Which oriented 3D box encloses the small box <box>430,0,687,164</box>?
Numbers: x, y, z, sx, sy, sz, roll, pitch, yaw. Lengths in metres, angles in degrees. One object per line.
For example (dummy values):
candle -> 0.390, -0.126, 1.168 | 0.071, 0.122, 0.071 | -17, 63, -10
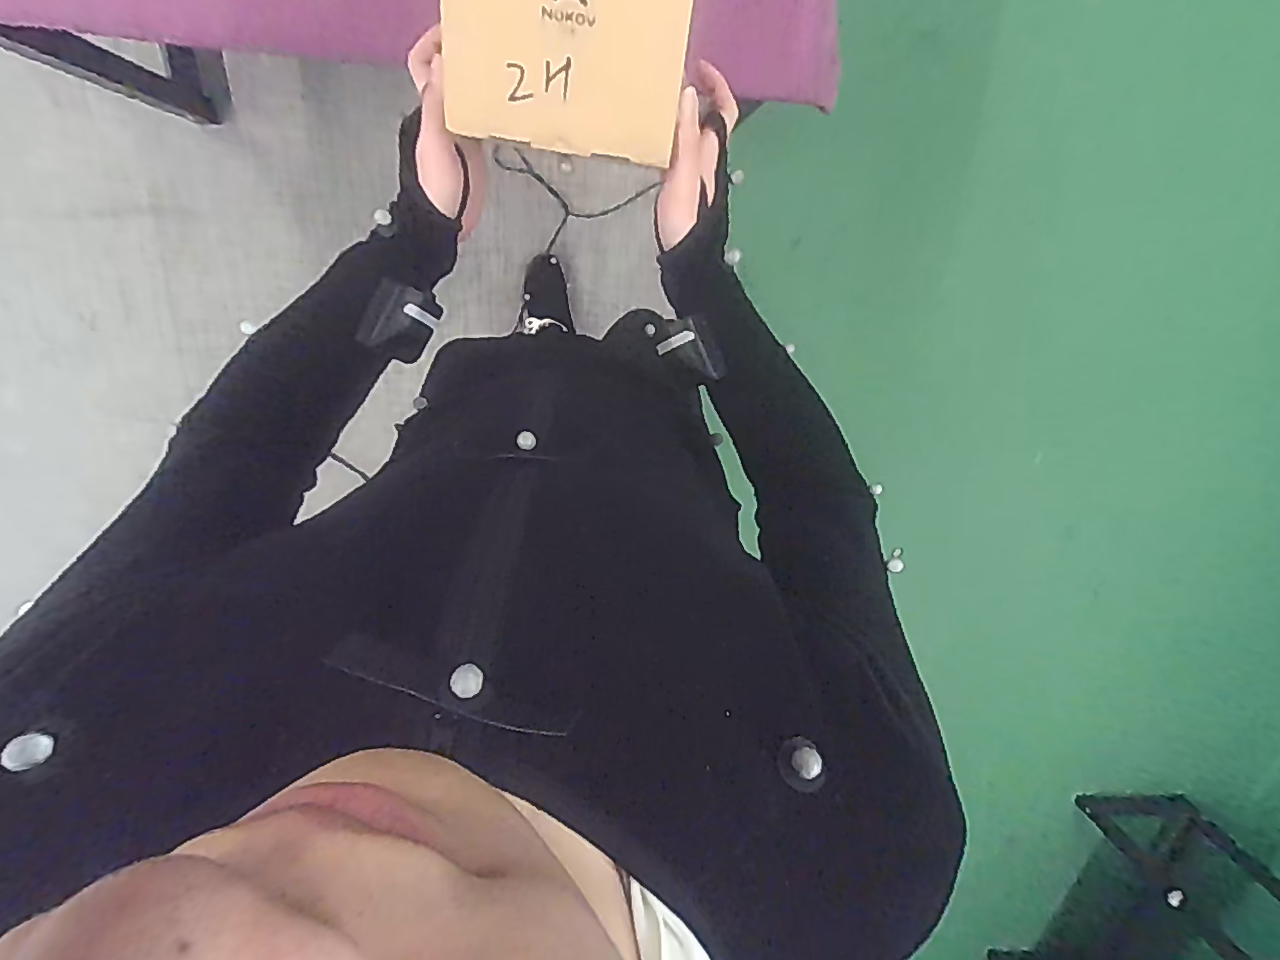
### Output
small box -> -0.056, -0.355, 0.414 | 0.168, 0.176, 0.179 | 6, 119, -7
